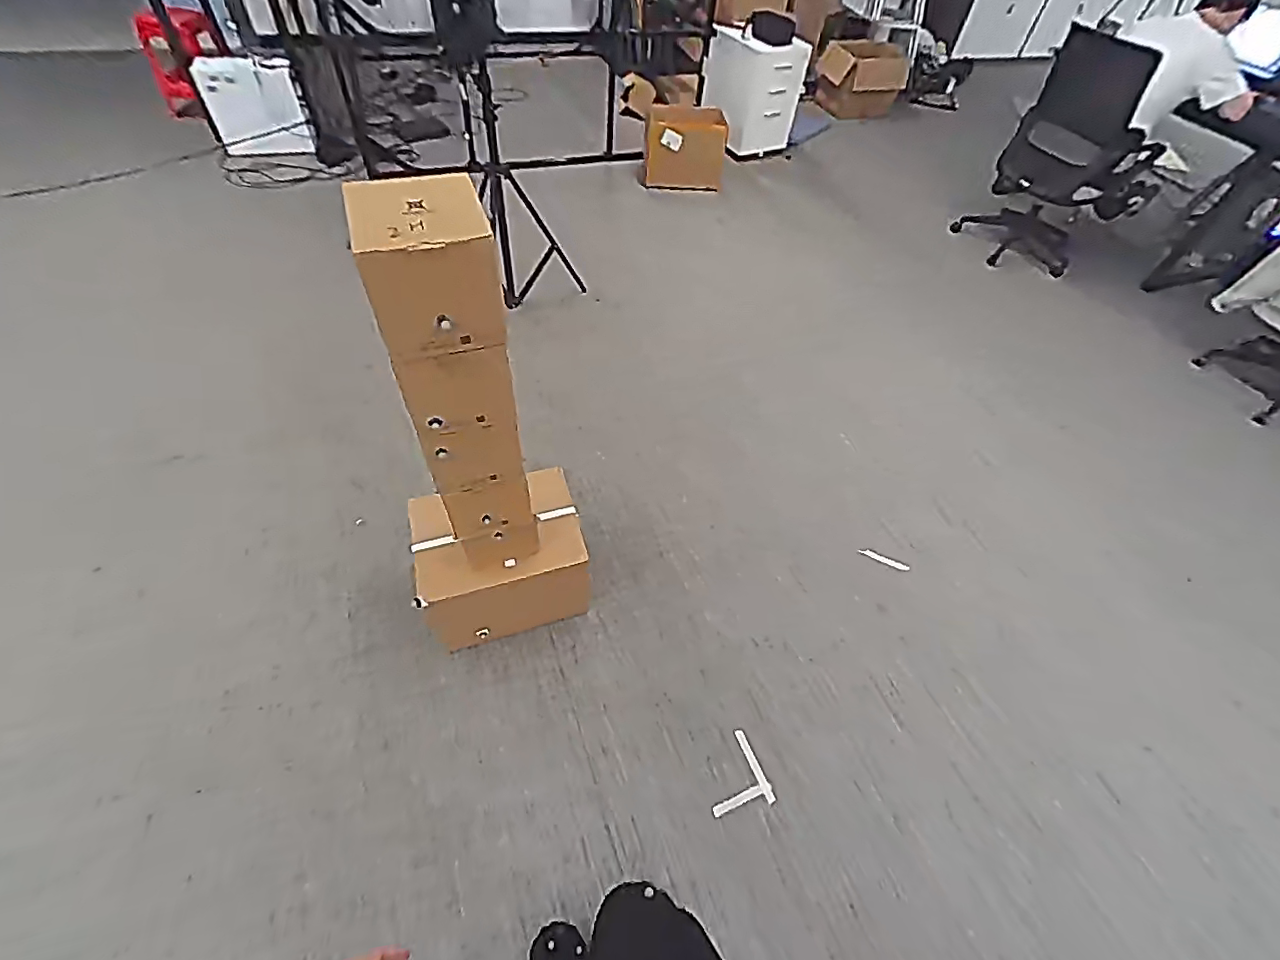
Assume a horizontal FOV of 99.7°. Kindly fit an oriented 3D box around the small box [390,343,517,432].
[{"bbox_3d":[-0.305,-0.196,0.892,0.168,0.176,0.179,-13,55,-15],"label":"small box"}]

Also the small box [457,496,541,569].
[{"bbox_3d":[-0.343,0.090,1.289,0.179,0.176,0.168,-15,56,-17],"label":"small box"}]

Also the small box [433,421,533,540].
[{"bbox_3d":[-0.332,-0.001,1.155,0.168,0.176,0.179,-15,57,-16],"label":"small box"}]

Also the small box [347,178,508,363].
[{"bbox_3d":[-0.292,-0.294,0.760,0.168,0.176,0.179,-15,57,-16],"label":"small box"}]
